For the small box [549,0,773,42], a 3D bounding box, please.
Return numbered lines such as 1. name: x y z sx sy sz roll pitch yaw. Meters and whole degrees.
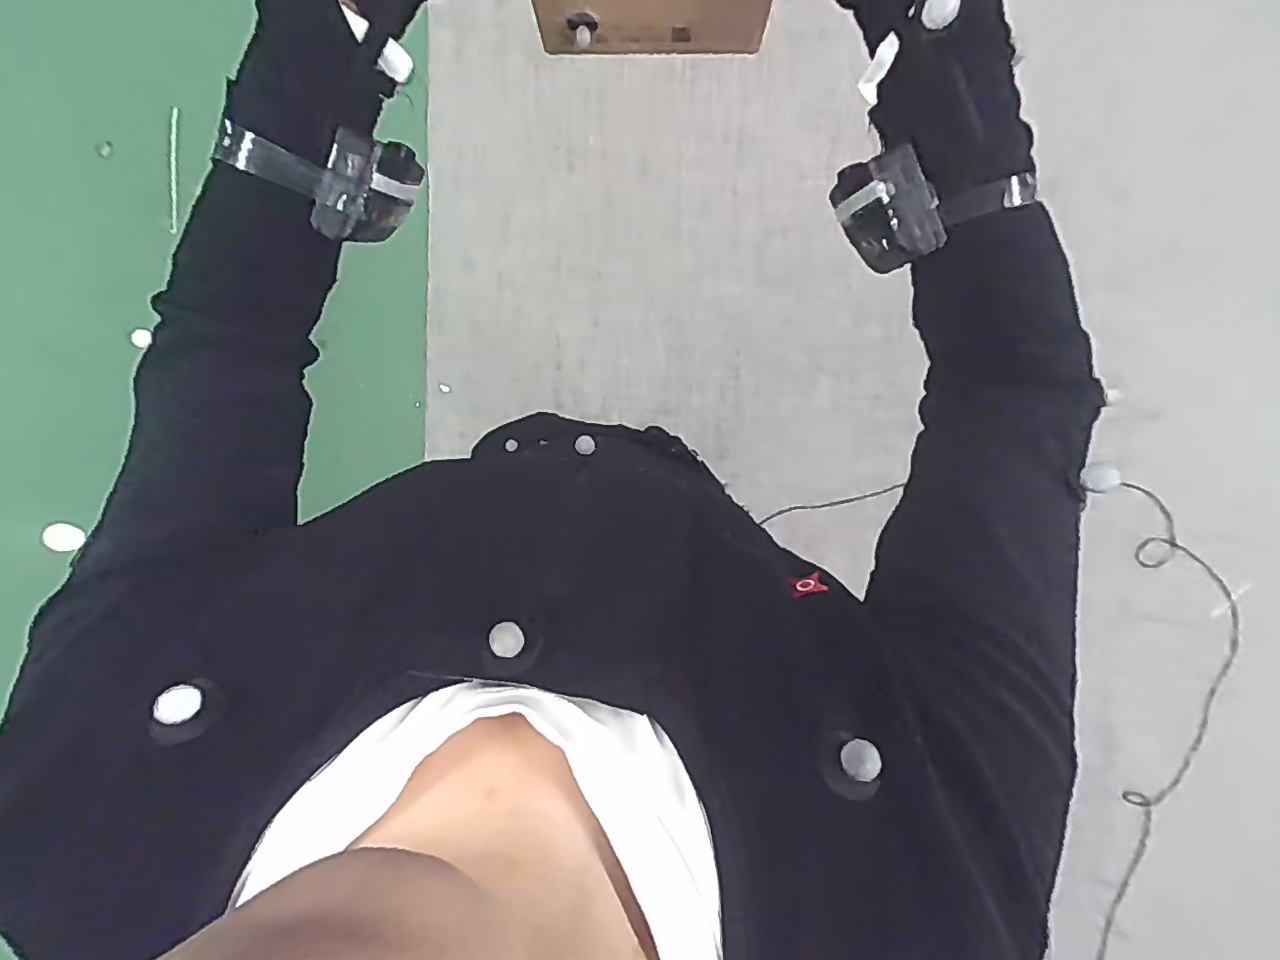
1. small box: 0.014 -0.414 0.330 0.168 0.176 0.179 1 91 1
